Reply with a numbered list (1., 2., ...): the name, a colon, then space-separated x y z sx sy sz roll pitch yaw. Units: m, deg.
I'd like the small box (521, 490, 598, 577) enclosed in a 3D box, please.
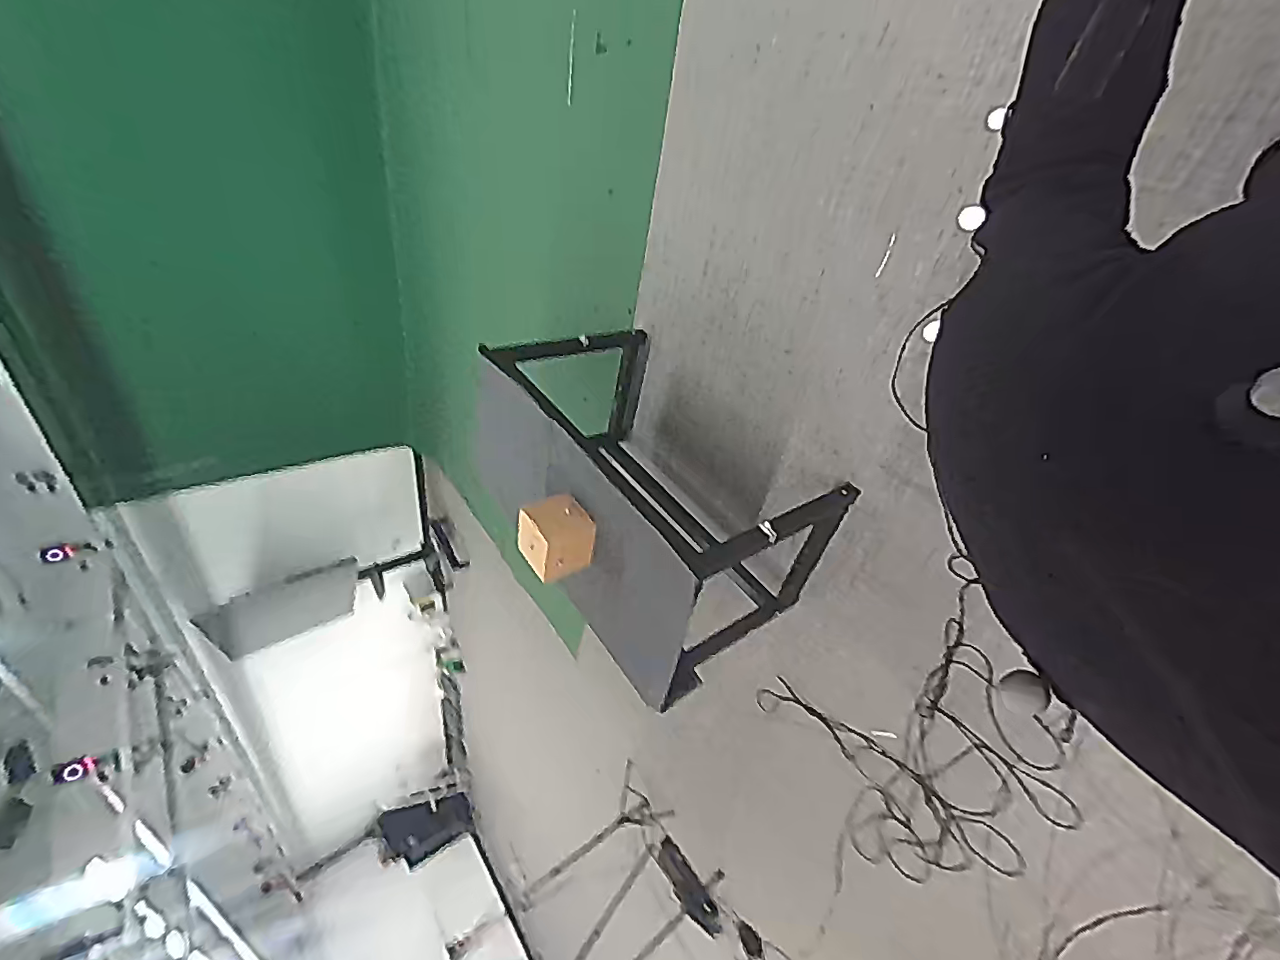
1. small box: -0.245 0.158 1.639 0.168 0.176 0.179 45 137 33
